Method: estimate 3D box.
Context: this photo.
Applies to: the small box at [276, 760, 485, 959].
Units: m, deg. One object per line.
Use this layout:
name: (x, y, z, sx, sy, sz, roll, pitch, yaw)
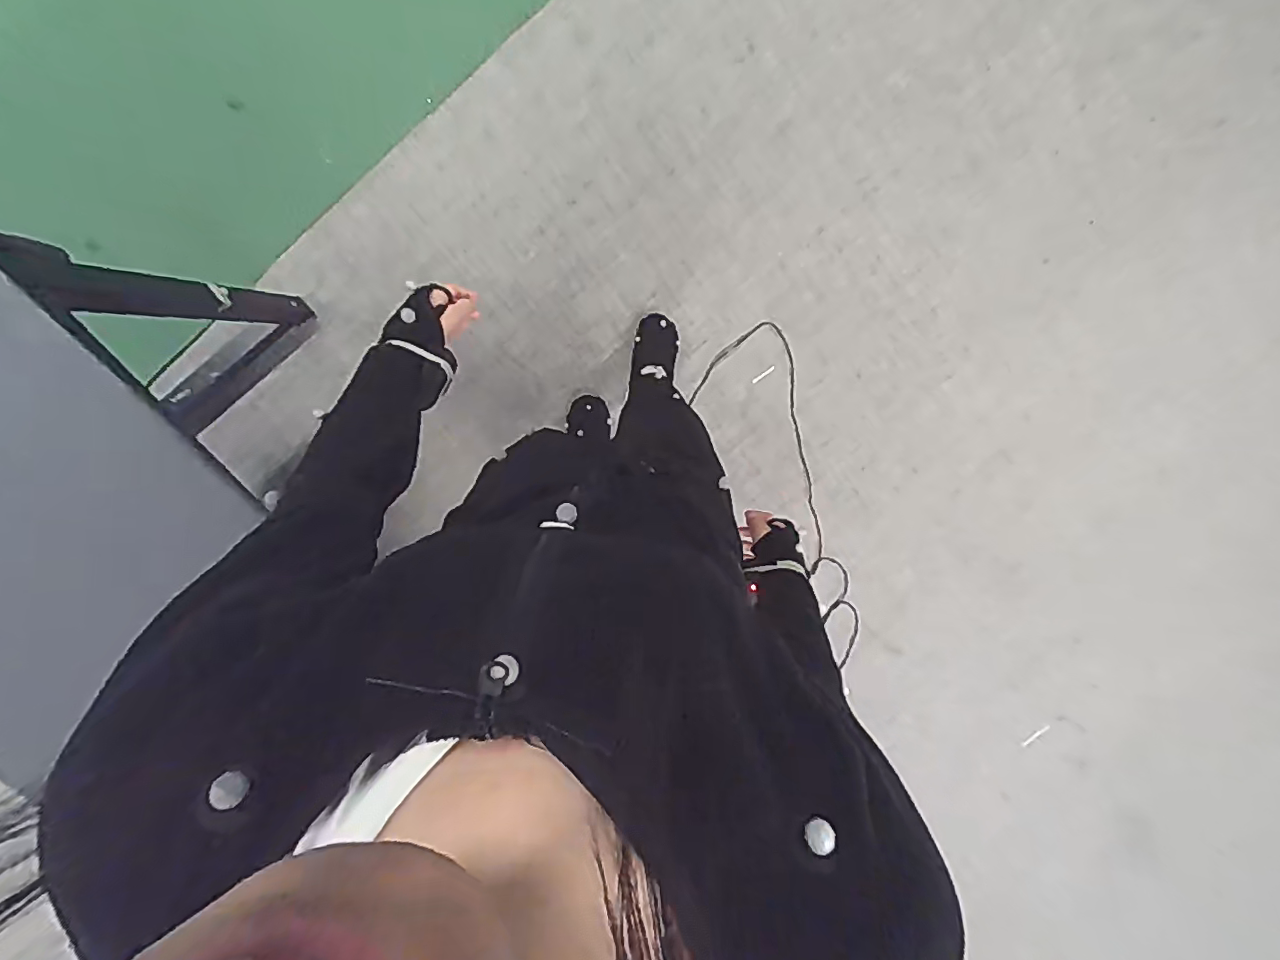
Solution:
small box: (-0.348, 0.549, 0.767, 0.179, 0.176, 0.168, -35, 103, 4)
